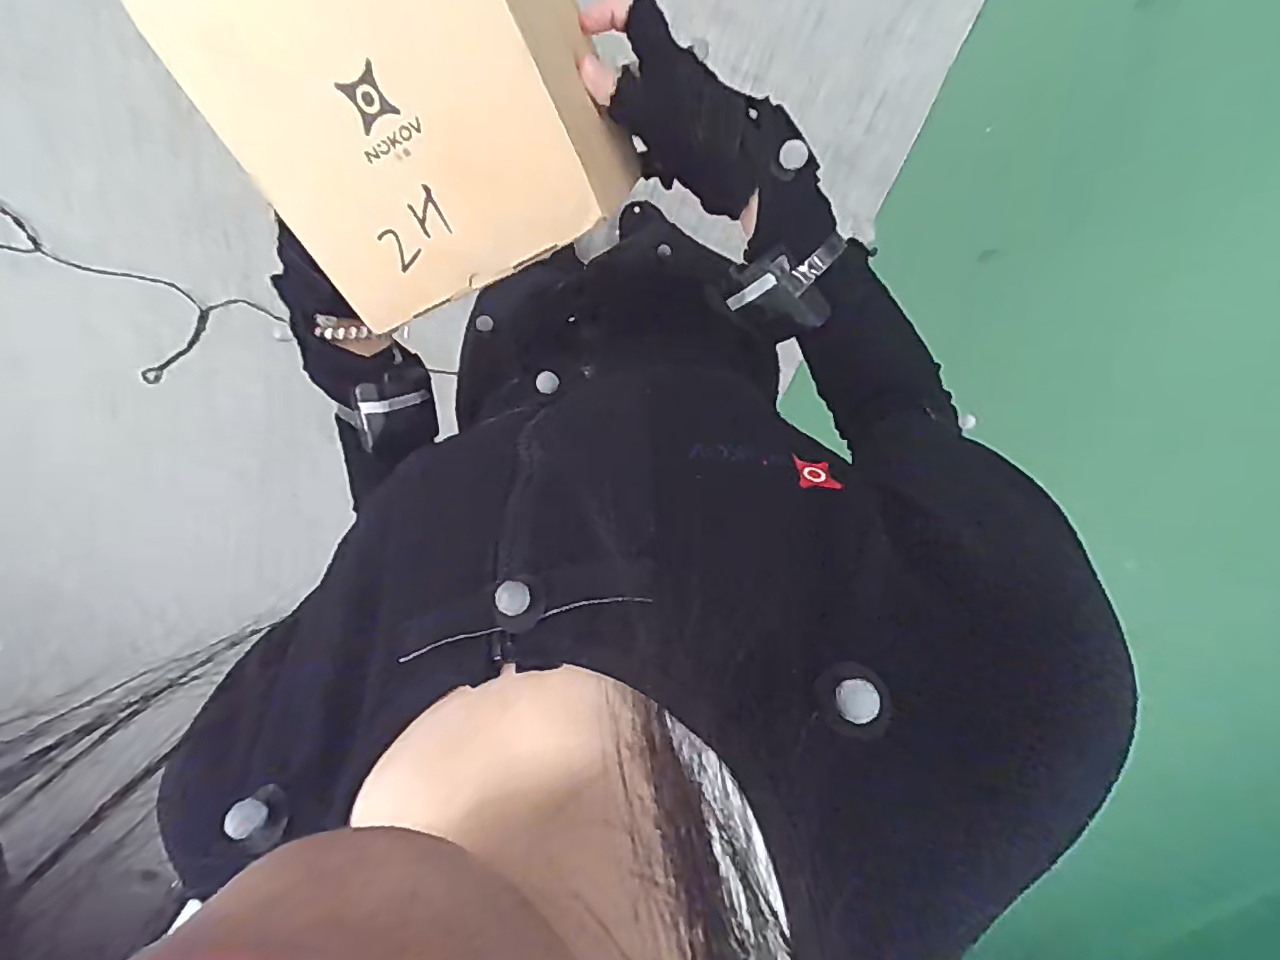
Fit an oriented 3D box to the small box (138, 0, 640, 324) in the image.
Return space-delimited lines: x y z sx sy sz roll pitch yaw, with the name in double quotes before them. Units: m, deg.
"small box" -0.112 -0.227 0.323 0.168 0.176 0.179 -16 124 20
